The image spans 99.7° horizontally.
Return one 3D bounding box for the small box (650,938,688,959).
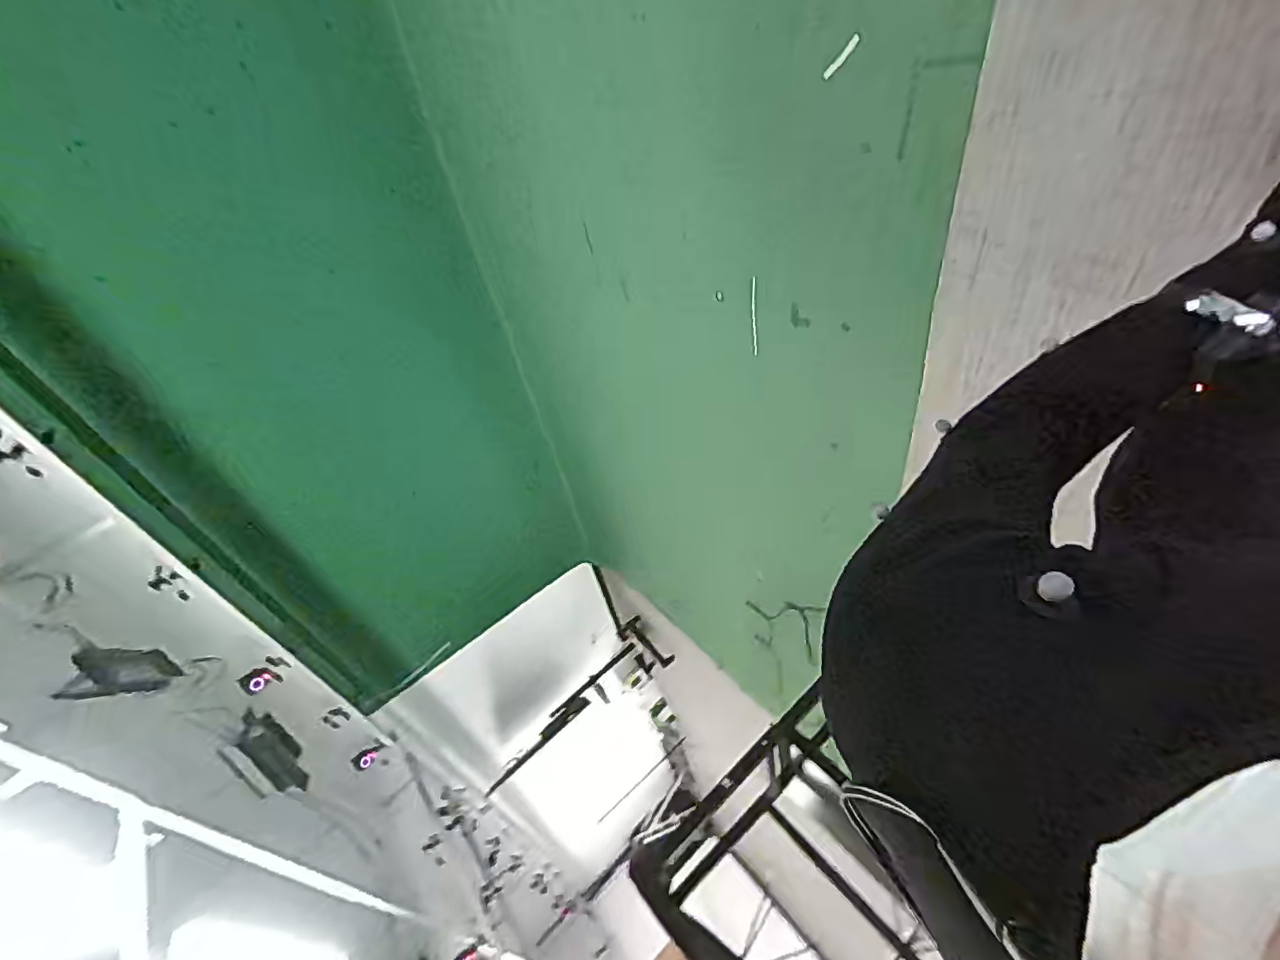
[{"bbox_3d":[0.097,1.612,1.725,0.168,0.176,0.179,37,152,37],"label":"small box"}]
